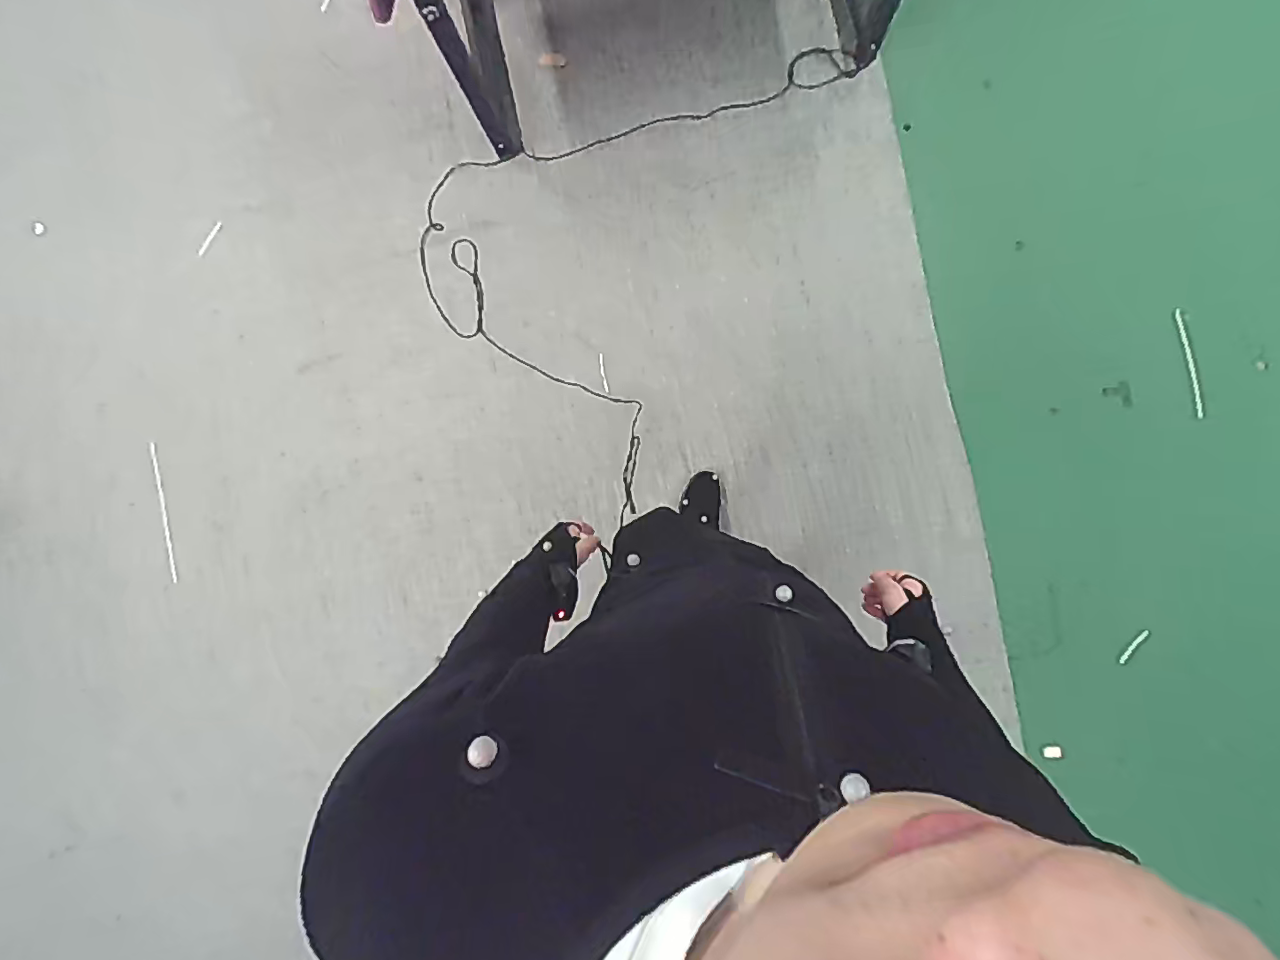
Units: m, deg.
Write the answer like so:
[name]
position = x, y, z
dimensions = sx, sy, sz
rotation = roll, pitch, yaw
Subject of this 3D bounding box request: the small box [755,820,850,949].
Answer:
[small box]
position = 0.385, 0.966, 1.303
dimensions = 0.168, 0.176, 0.179
rotation = -12, 88, 3
